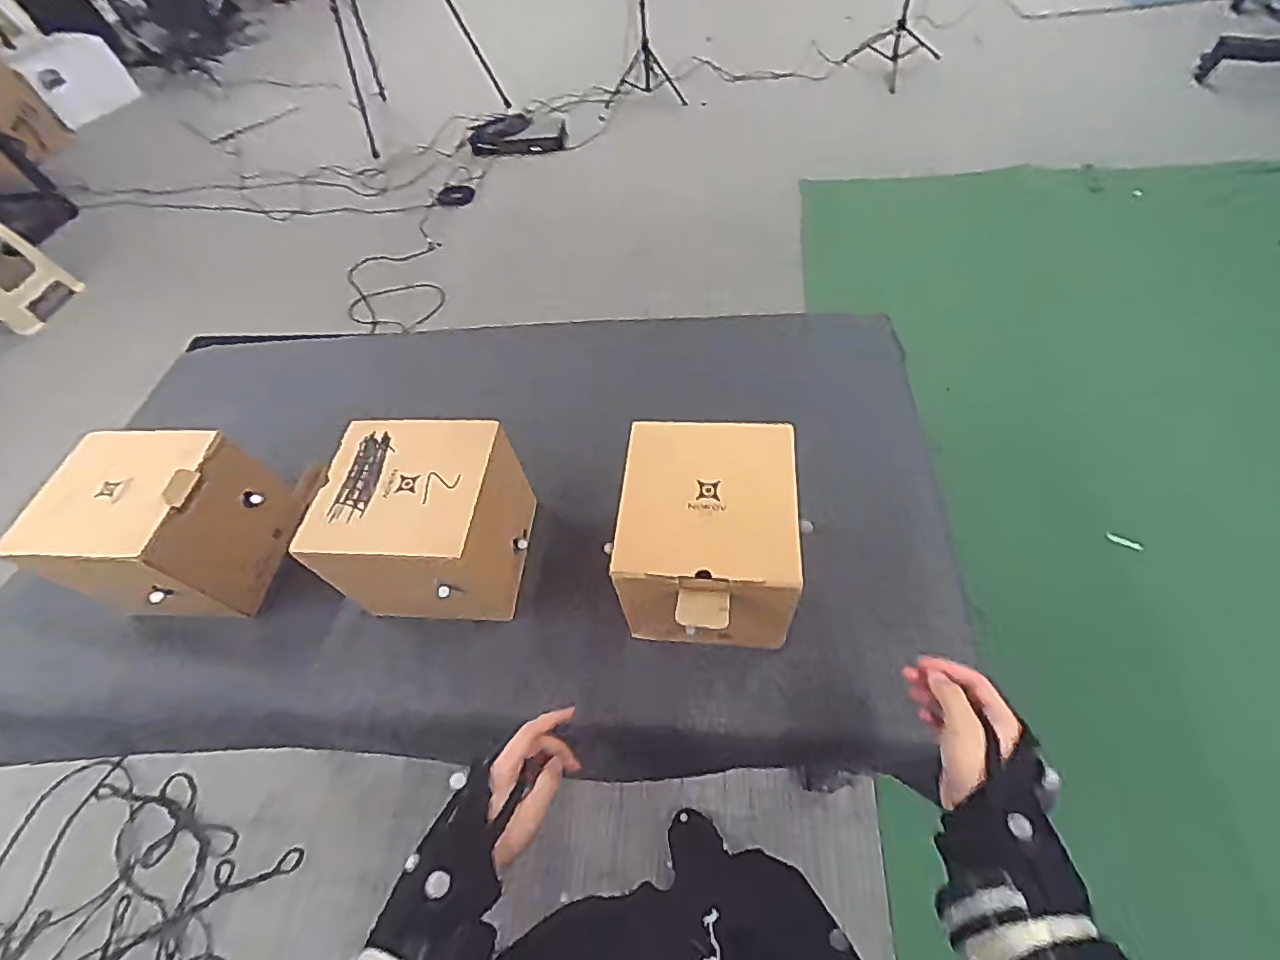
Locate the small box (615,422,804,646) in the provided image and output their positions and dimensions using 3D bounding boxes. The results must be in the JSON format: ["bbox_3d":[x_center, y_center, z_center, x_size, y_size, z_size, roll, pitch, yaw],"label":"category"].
[{"bbox_3d":[0.073,0.059,0.573,0.168,0.176,0.179,2,57,8],"label":"small box"}]

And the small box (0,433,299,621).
[{"bbox_3d":[-0.557,0.060,0.644,0.179,0.176,0.168,-1,54,7],"label":"small box"}]
